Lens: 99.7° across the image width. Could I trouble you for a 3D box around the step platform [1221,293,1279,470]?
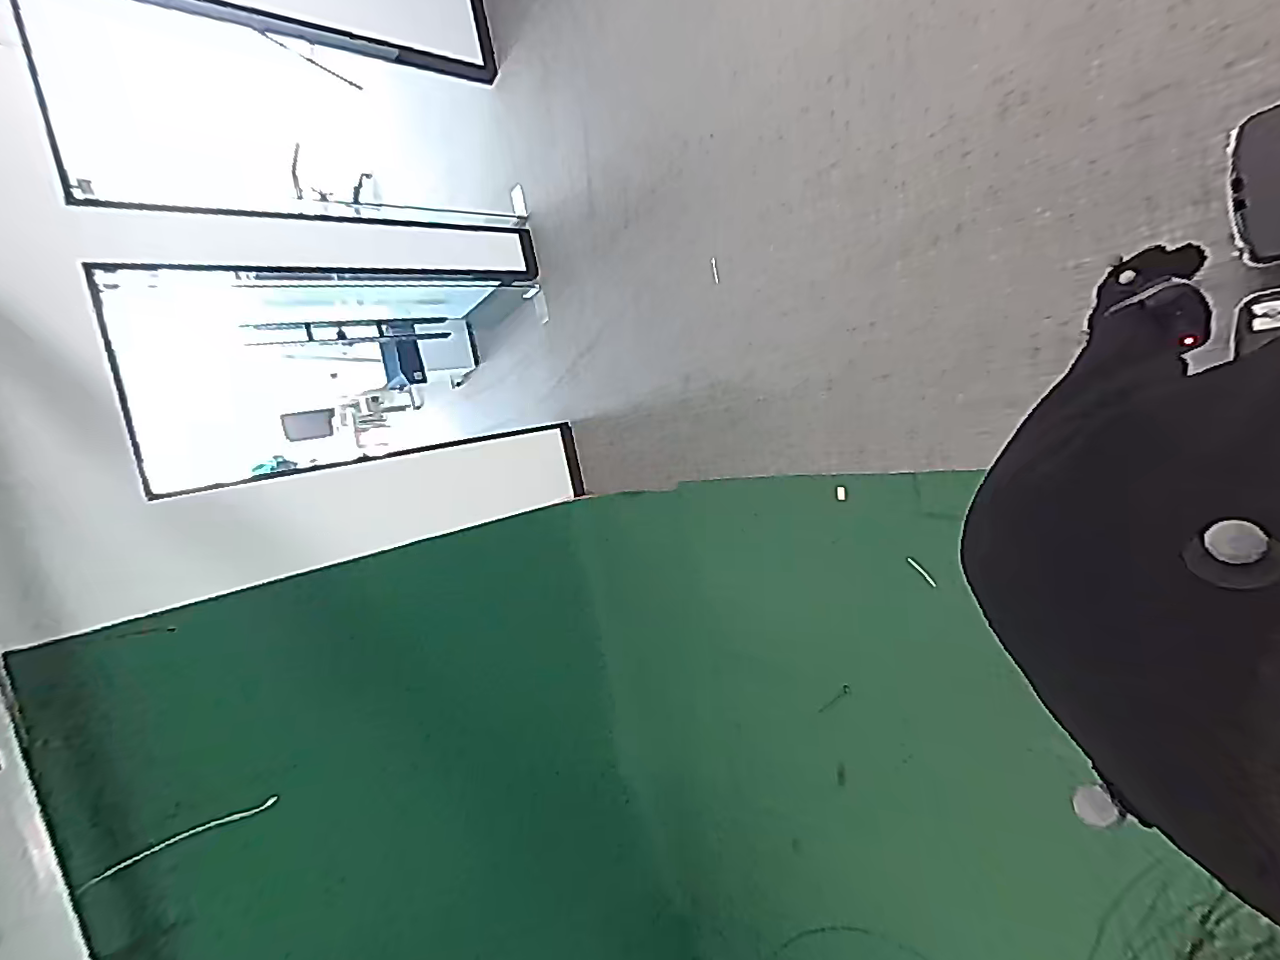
[{"bbox_3d":[1.252,-0.183,0.690,0.684,0.204,0.286,-5,98,53],"label":"step platform"}]
